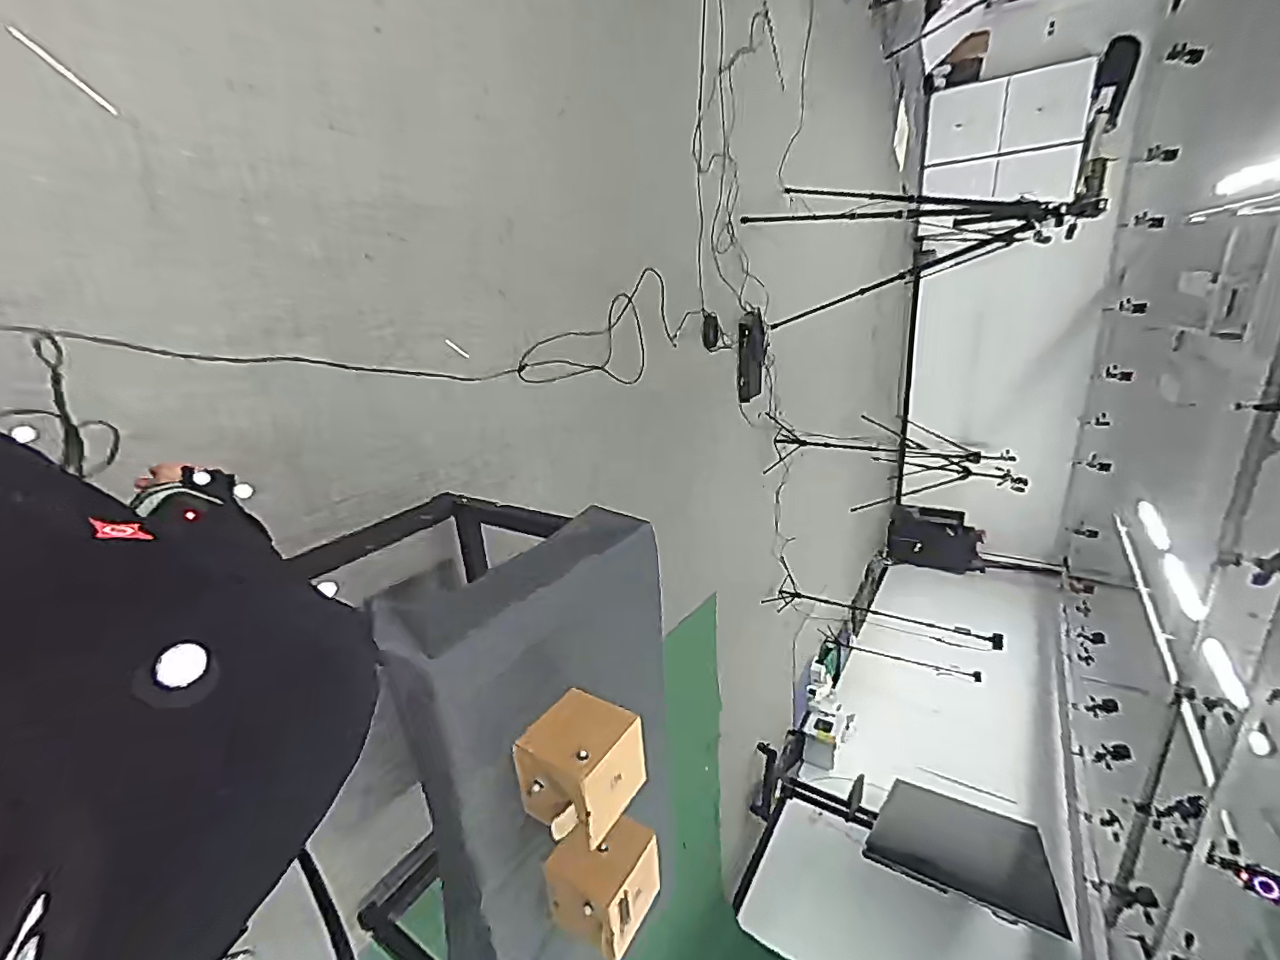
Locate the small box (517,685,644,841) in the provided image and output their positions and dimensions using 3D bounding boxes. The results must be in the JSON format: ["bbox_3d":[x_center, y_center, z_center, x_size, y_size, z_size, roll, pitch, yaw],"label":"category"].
[{"bbox_3d":[-0.111,0.530,1.044,0.179,0.176,0.168,-30,123,-51],"label":"small box"}]
